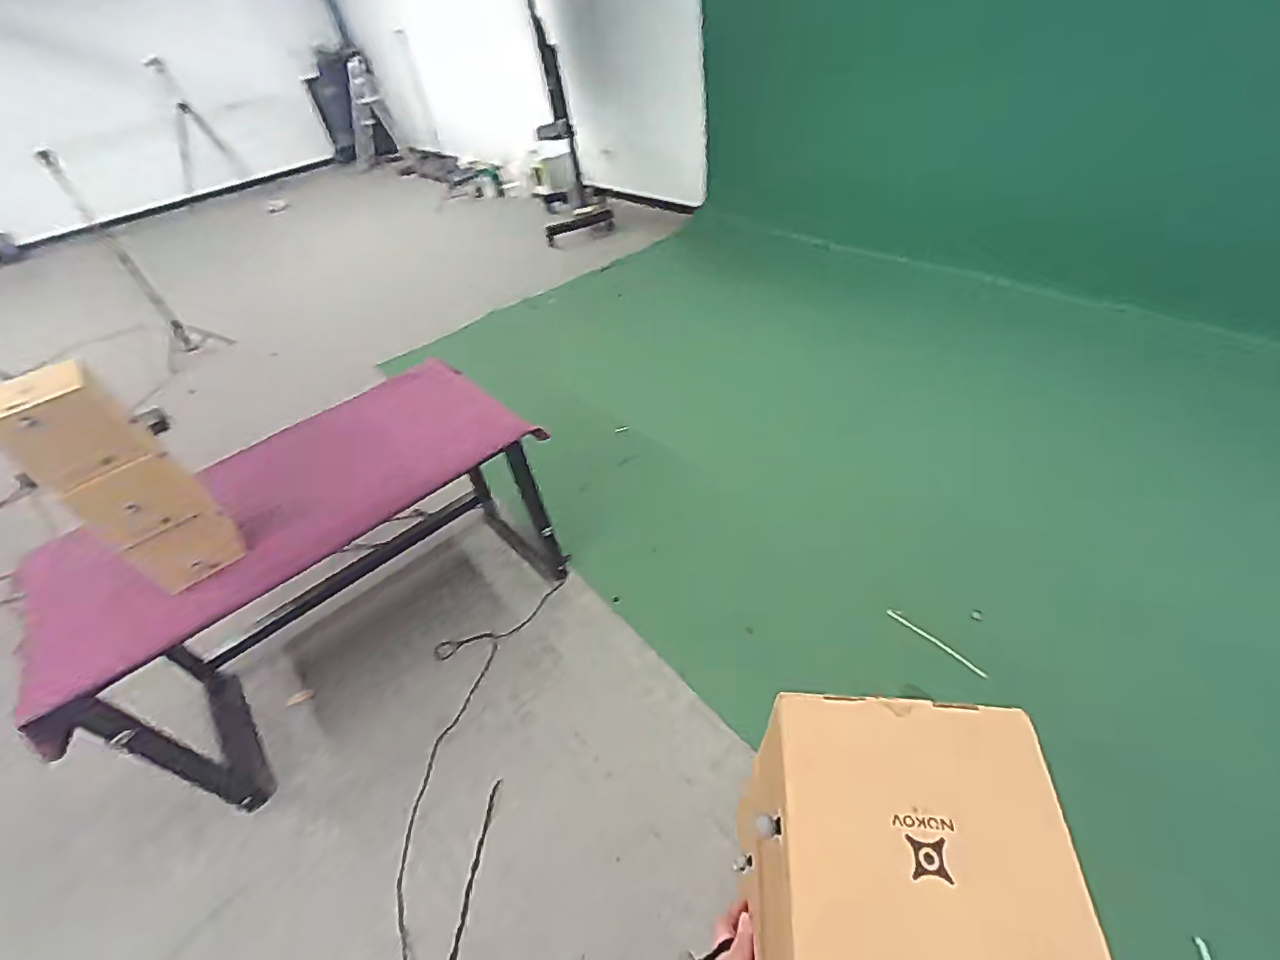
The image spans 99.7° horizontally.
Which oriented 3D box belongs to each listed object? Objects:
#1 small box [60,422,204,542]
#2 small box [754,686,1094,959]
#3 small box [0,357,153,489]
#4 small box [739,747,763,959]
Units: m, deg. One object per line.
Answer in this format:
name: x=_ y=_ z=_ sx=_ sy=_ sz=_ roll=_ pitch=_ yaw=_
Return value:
small box: x=-1.094 y=0.010 z=1.176 sx=0.168 sy=0.176 sz=0.179 roll=-33 pitch=48 yaw=-24
small box: x=0.171 y=0.266 z=0.384 sx=0.168 sy=0.176 sz=0.179 roll=0 pitch=49 yaw=8
small box: x=-1.119 y=-0.112 z=1.069 sx=0.168 sy=0.176 sz=0.179 roll=-35 pitch=48 yaw=-24
small box: x=0.181 y=0.370 z=0.508 sx=0.168 sy=0.176 sz=0.179 roll=0 pitch=49 yaw=7
